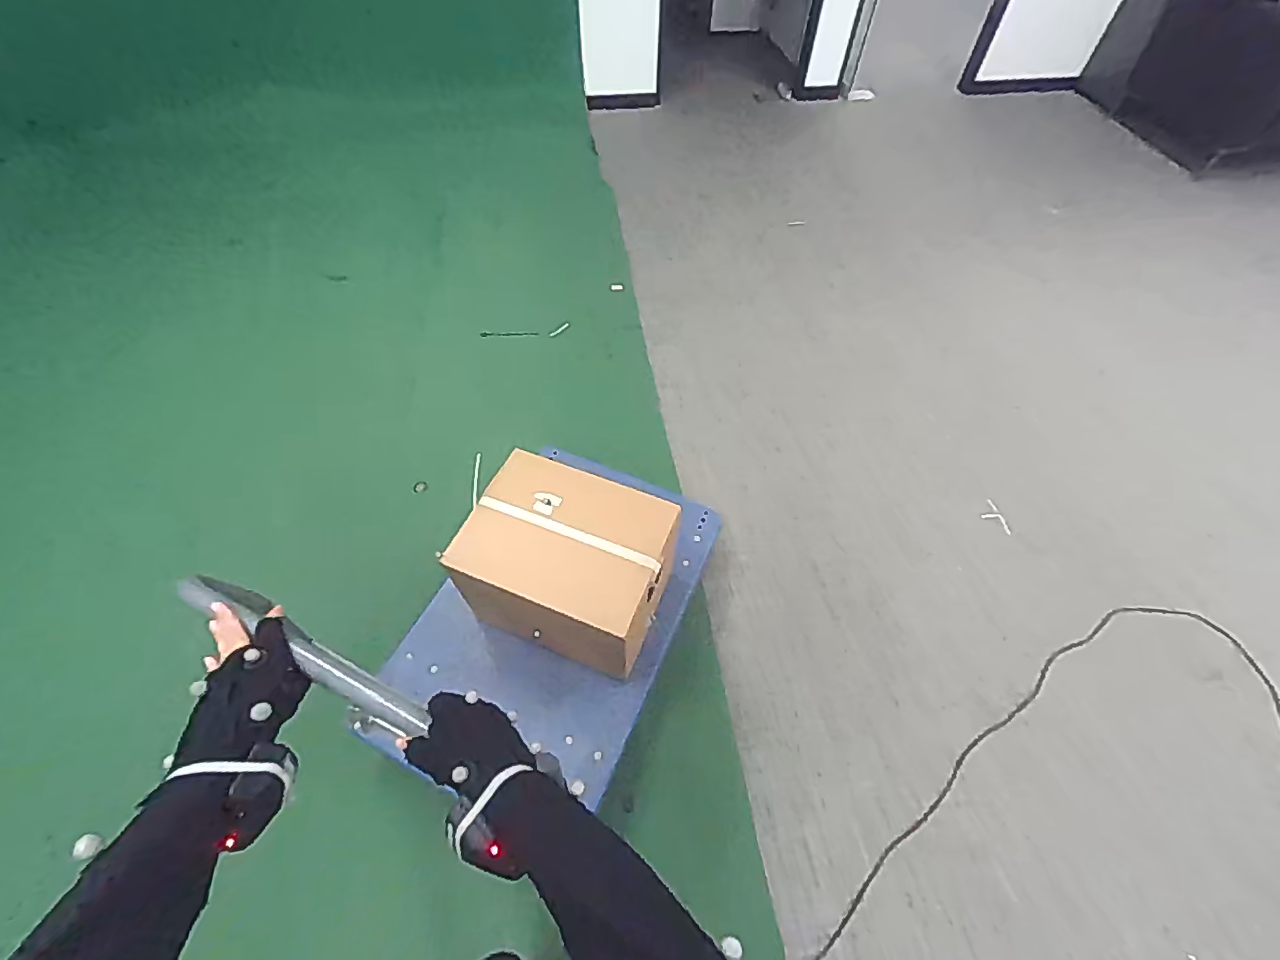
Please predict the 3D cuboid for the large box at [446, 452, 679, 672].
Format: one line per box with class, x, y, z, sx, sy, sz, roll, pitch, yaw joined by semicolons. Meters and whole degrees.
large box;-0.151;0.194;1.246;0.408;0.320;0.320;18;57;12
